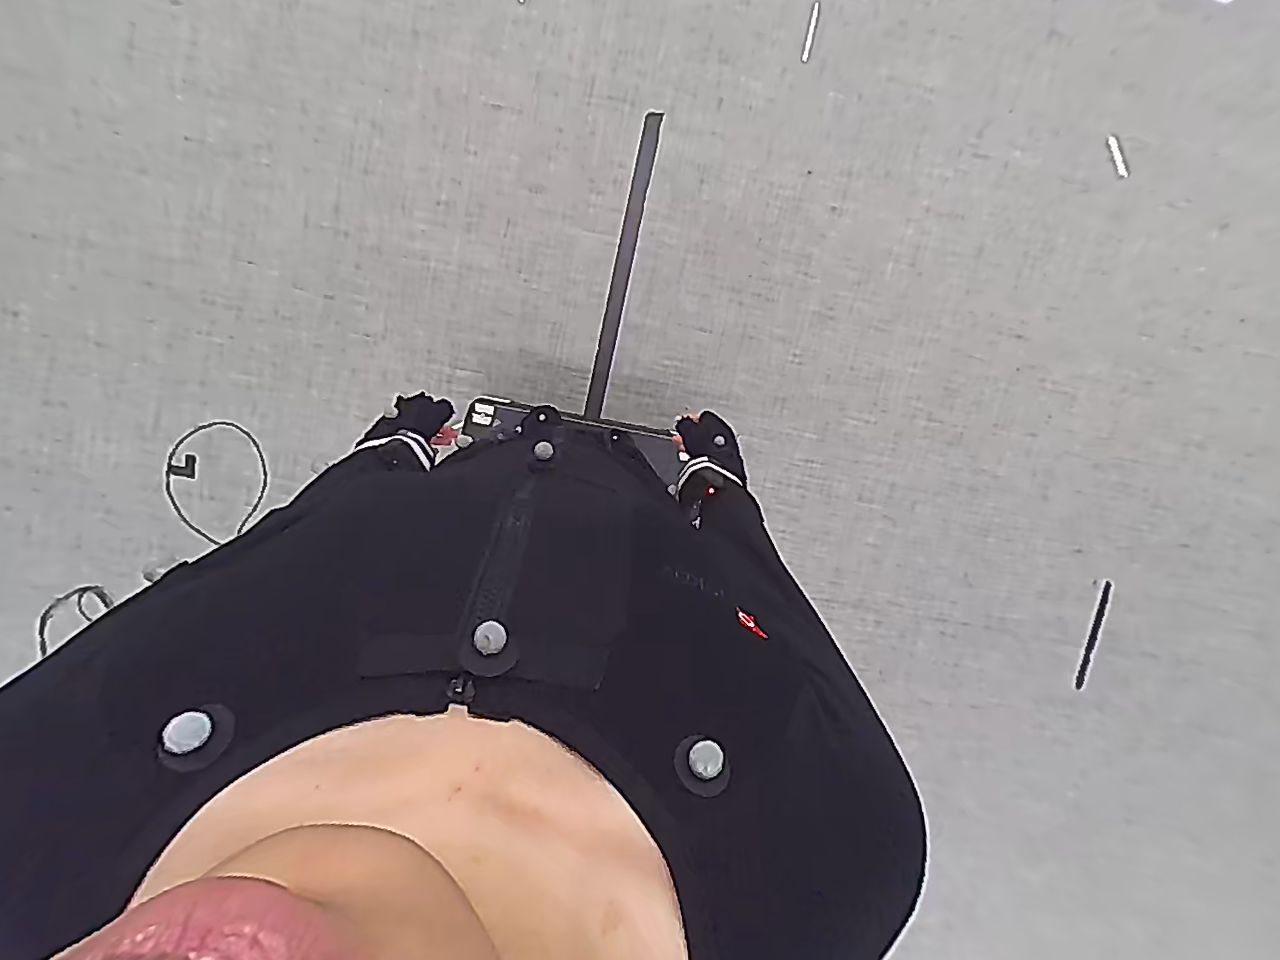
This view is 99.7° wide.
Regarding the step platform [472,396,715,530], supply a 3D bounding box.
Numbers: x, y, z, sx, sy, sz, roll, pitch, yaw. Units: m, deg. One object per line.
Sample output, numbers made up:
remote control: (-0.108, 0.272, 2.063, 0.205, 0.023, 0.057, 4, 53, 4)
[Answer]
step platform: (-0.131, -0.048, 1.565, 0.684, 0.204, 0.286, 9, 97, -6)
